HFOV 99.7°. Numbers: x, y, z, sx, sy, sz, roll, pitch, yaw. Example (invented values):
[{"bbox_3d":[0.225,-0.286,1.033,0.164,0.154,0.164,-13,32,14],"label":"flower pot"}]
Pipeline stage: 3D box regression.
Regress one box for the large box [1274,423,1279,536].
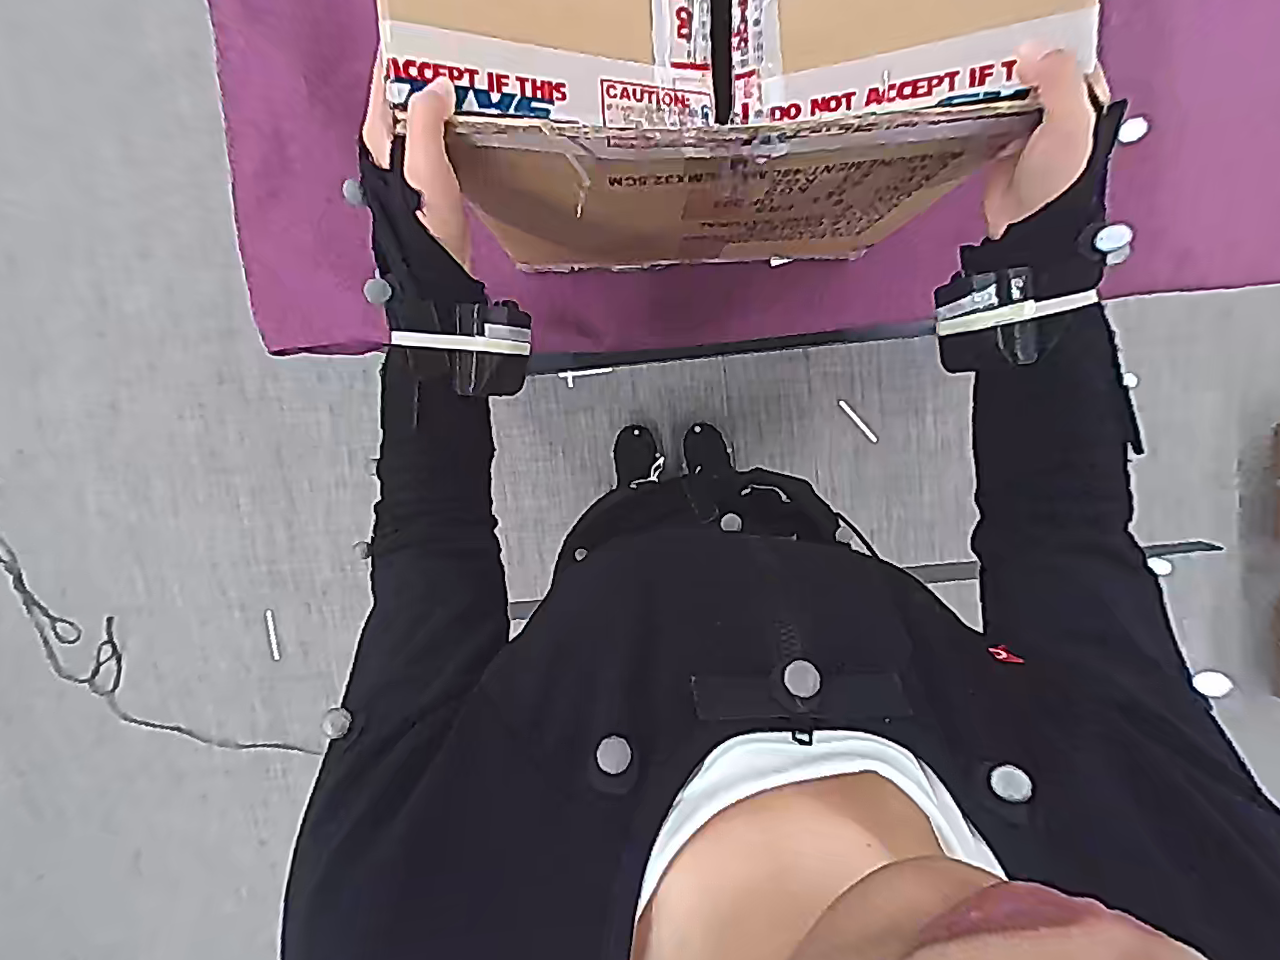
[{"bbox_3d":[1.804,-0.009,1.215,0.408,0.320,0.320,-7,96,2],"label":"large box"}]
